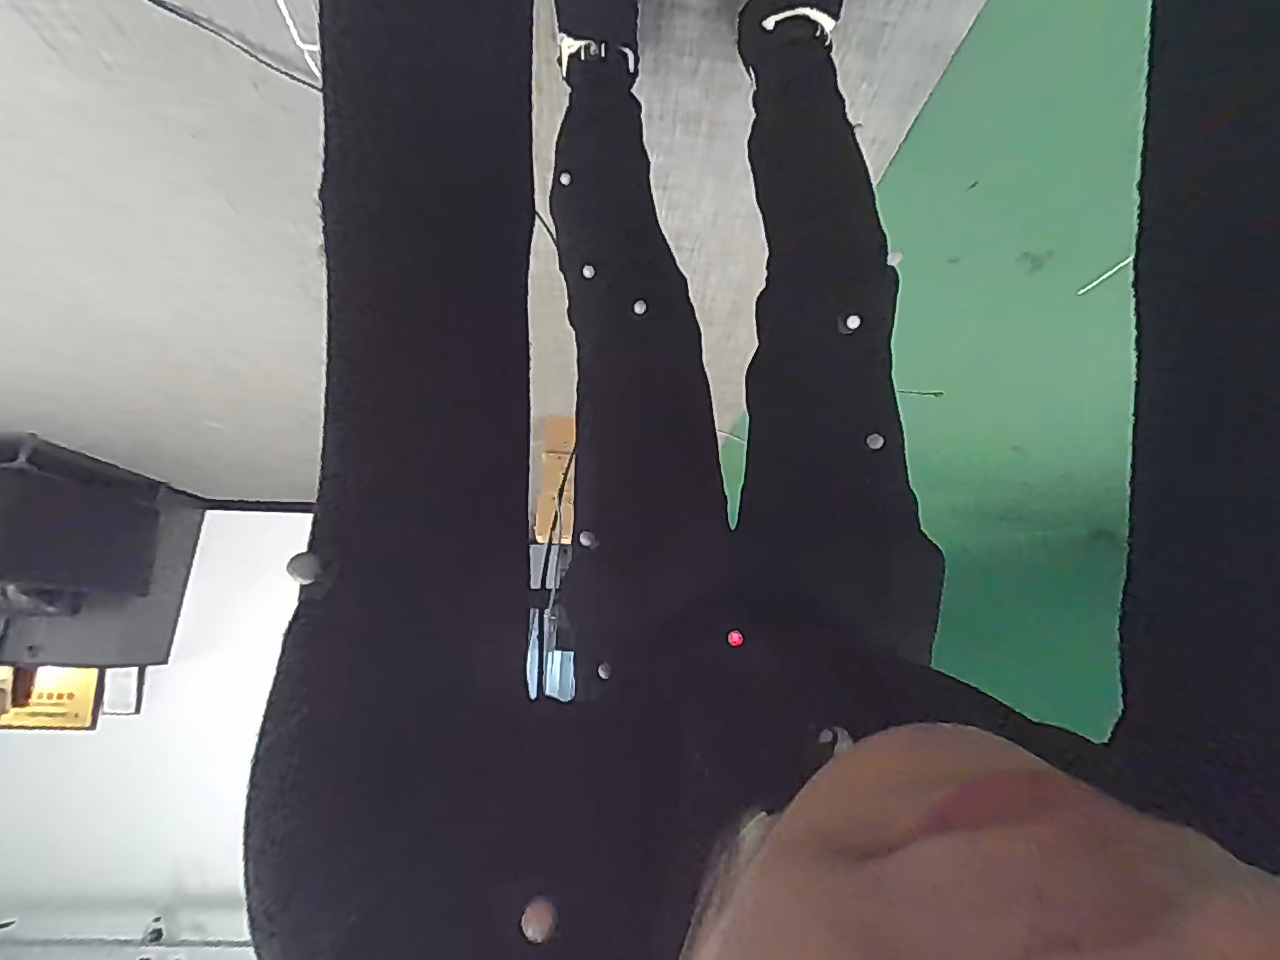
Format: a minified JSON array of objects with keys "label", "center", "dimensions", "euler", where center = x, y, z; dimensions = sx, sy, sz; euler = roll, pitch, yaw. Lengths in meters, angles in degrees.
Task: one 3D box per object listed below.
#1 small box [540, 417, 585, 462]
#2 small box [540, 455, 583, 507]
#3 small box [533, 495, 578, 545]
[{"label":"small box","center":[-0.322,-0.153,2.248],"dimensions":[0.179,0.176,0.168],"euler":[4,163,-8]},{"label":"small box","center":[-0.320,0.003,2.198],"dimensions":[0.168,0.176,0.179],"euler":[4,162,-7]},{"label":"small box","center":[-0.335,0.162,2.157],"dimensions":[0.168,0.176,0.179],"euler":[3,163,-6]}]
